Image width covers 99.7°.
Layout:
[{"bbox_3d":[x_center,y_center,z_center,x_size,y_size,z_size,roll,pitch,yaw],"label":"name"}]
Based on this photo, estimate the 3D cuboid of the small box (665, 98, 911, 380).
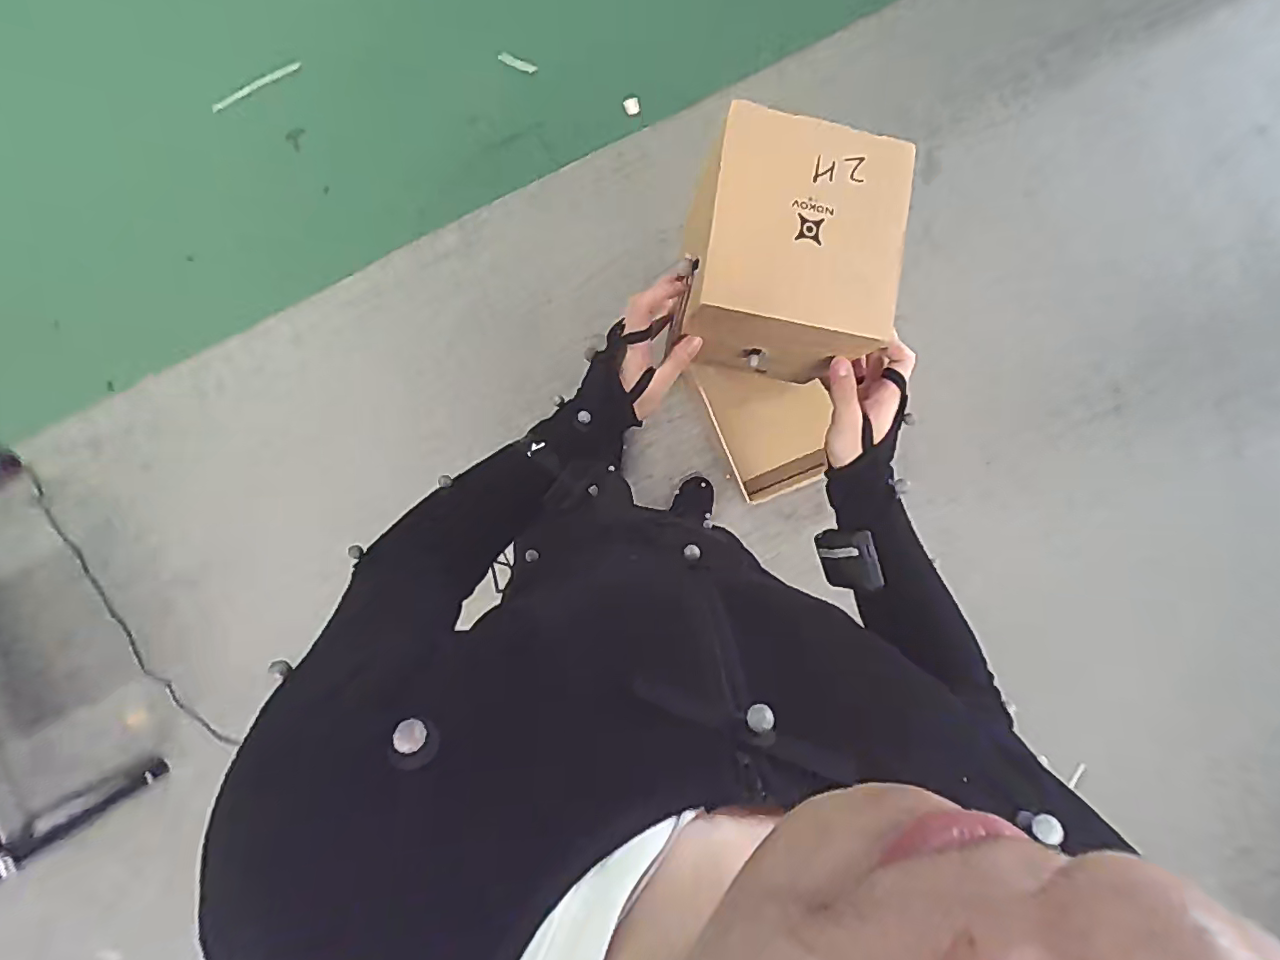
[{"bbox_3d":[0.124,-0.206,0.516,0.168,0.176,0.179,9,86,-7],"label":"small box"}]
